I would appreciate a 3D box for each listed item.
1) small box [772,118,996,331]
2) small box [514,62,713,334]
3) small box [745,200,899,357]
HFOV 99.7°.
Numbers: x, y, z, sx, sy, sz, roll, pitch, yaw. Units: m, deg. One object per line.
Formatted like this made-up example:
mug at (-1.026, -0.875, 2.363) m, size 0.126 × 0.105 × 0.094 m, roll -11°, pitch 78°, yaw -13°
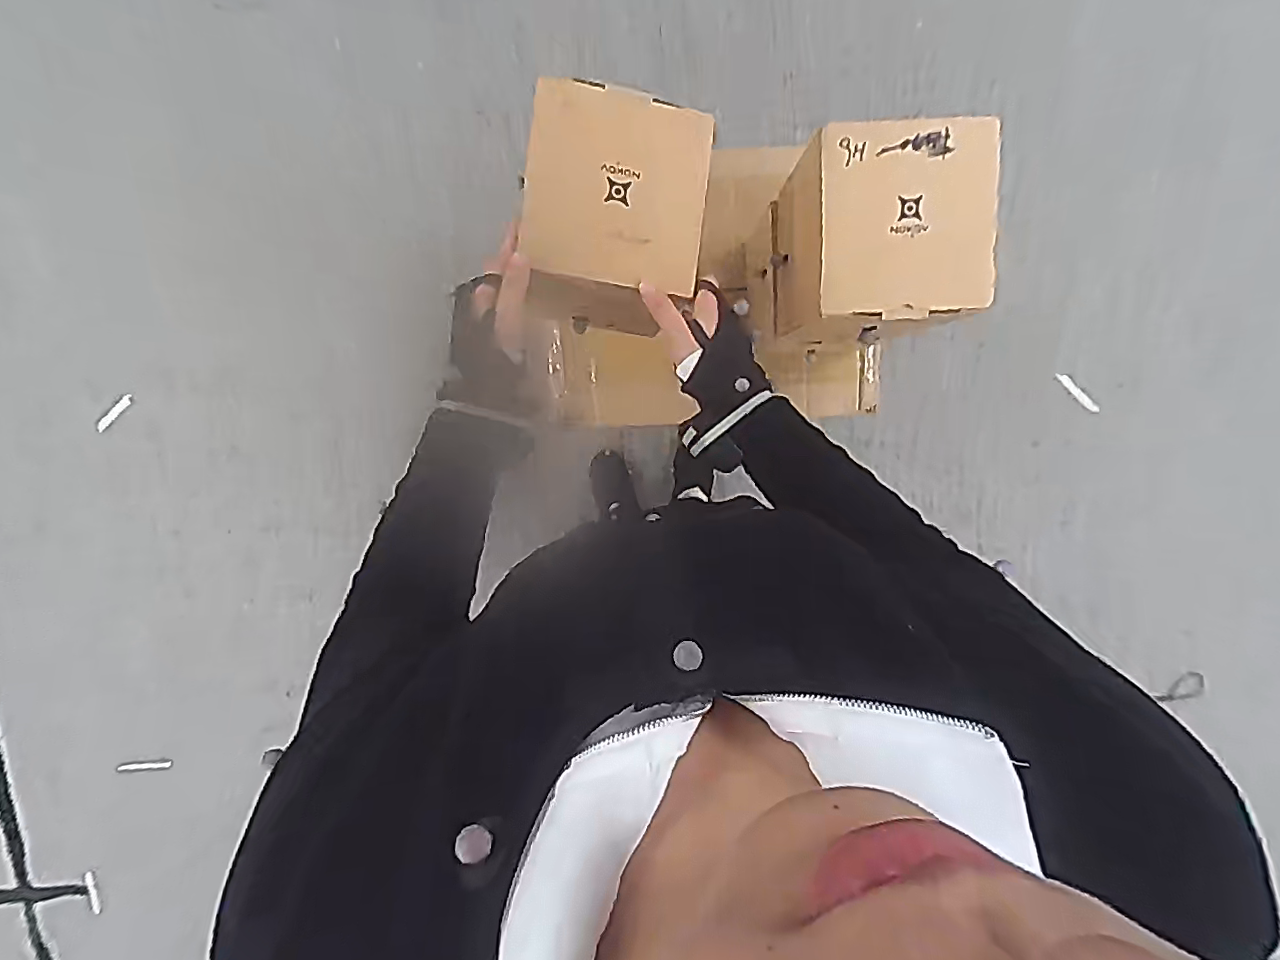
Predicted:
small box at (0.247, -0.259, 0.590) m, size 0.168 × 0.176 × 0.179 m, roll -1°, pitch 98°, yaw -1°
small box at (-0.037, -0.266, 0.557) m, size 0.168 × 0.176 × 0.179 m, roll 6°, pitch 91°, yaw -11°
small box at (0.243, -0.273, 0.755) m, size 0.168 × 0.176 × 0.179 m, roll -3°, pitch 97°, yaw 1°
